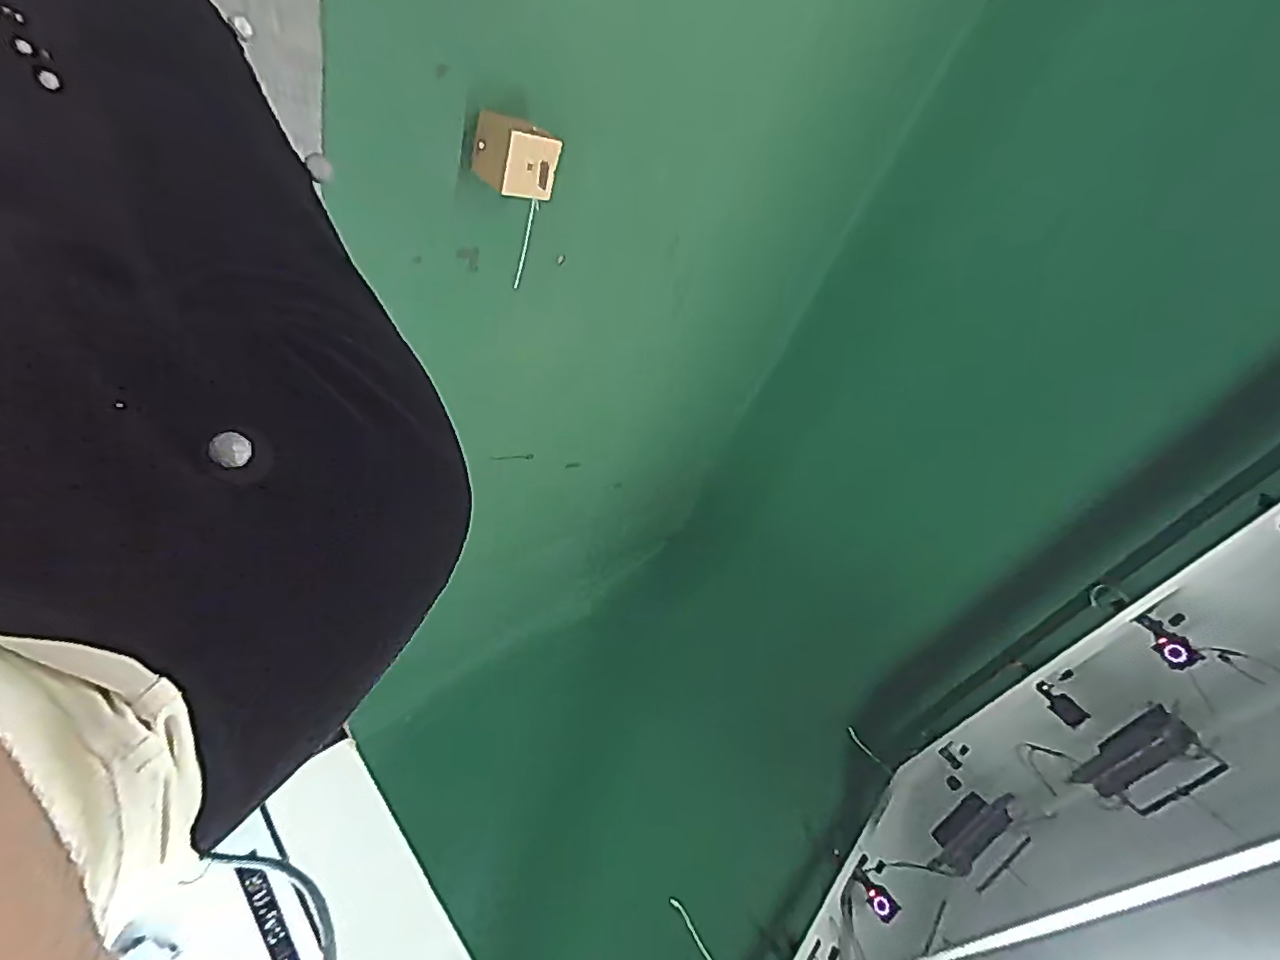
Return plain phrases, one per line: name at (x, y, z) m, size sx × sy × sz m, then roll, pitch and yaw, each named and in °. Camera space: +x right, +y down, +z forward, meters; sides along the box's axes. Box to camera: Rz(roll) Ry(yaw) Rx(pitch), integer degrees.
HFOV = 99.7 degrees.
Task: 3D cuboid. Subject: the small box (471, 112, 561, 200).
small box at (-0.363, -0.943, 1.576) m, size 0.179 × 0.176 × 0.168 m, roll -20°, pitch 144°, yaw -43°
